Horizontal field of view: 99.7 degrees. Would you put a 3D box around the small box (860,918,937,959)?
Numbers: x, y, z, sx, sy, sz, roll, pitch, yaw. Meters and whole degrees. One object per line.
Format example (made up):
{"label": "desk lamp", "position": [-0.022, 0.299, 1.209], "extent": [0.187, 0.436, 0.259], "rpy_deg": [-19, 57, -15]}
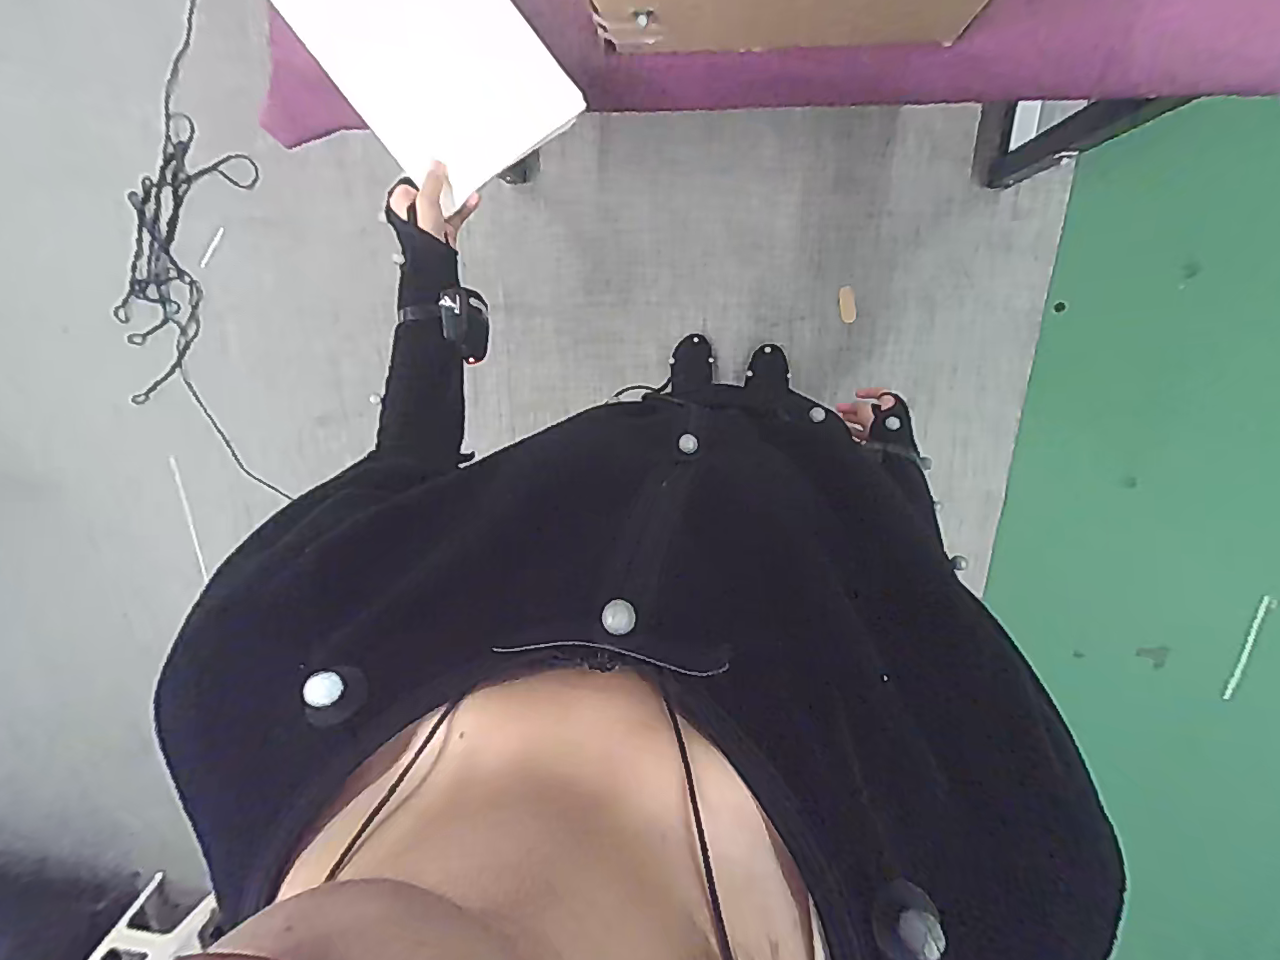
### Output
{"label": "small box", "position": [0.668, 1.259, 1.374], "extent": [0.168, 0.176, 0.179], "rpy_deg": [-10, 103, 12]}
